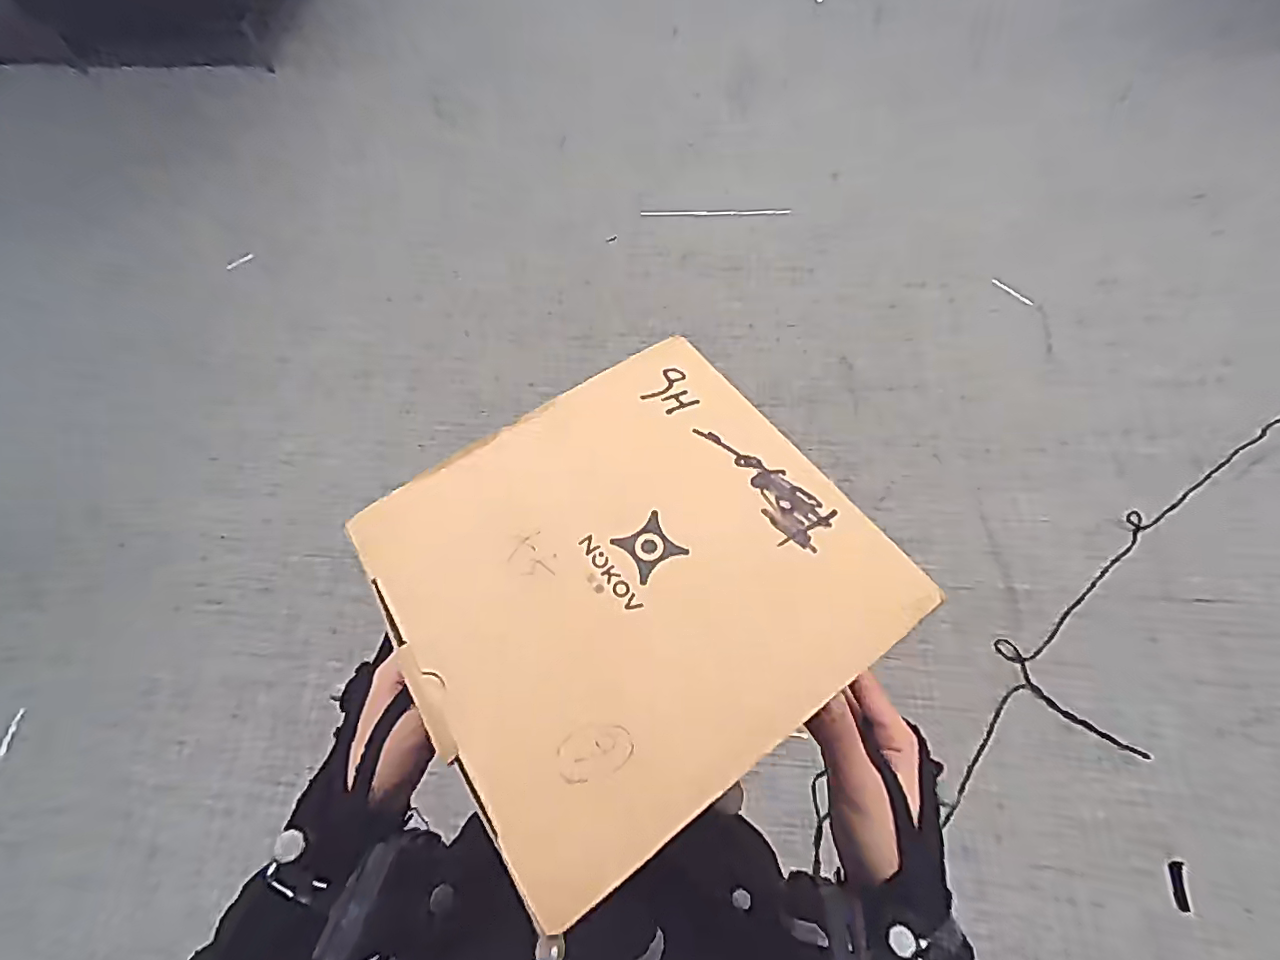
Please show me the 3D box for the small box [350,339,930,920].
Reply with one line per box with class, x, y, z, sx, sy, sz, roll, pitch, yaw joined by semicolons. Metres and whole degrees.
small box;-0.002;0.070;0.281;0.179;0.176;0.168;-32;64;-14
